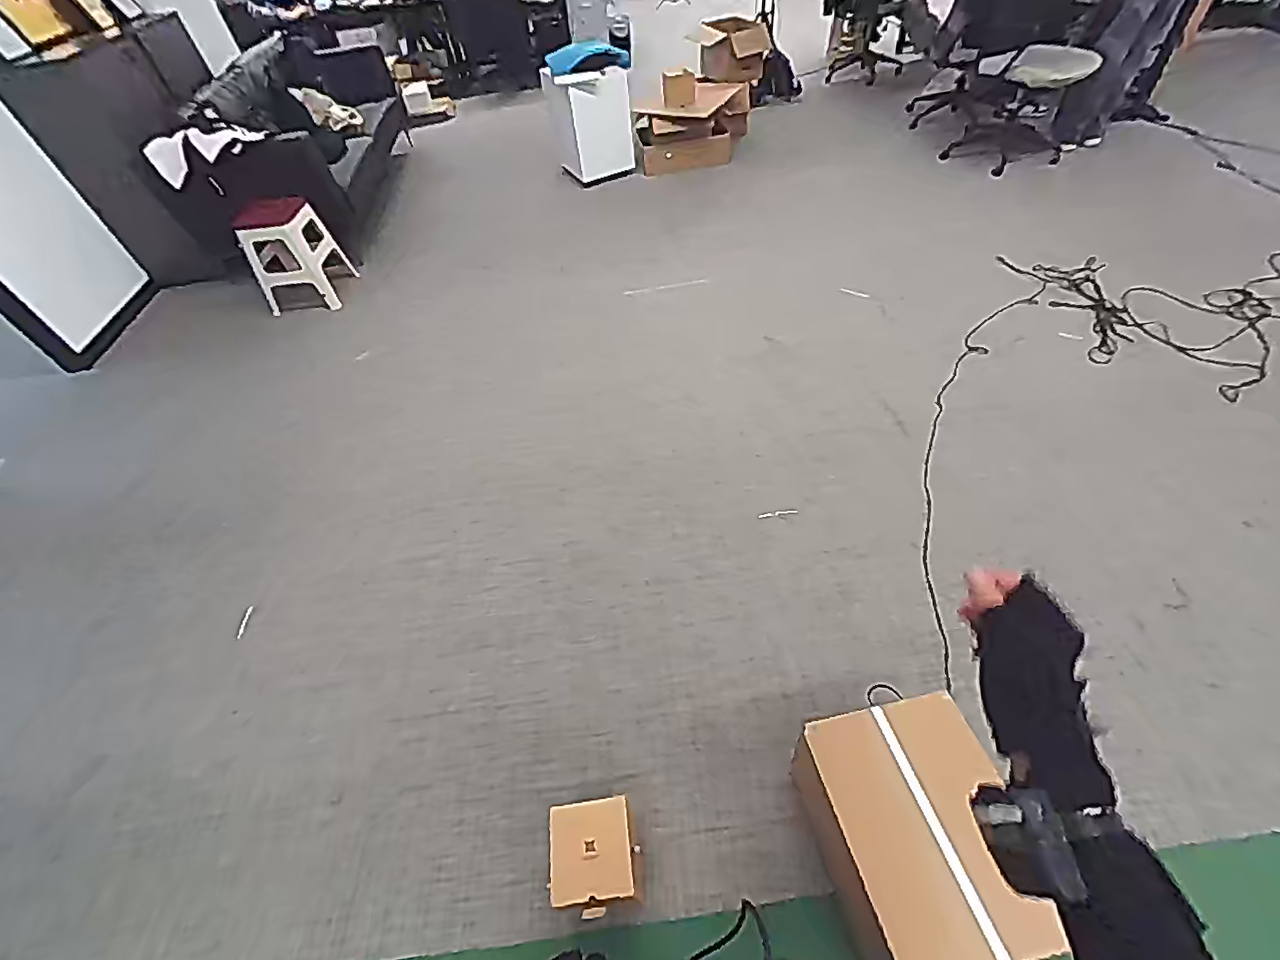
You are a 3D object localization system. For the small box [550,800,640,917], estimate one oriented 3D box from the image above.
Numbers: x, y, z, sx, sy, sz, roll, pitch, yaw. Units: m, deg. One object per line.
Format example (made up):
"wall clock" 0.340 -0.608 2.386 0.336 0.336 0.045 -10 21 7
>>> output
"small box" -0.096 0.817 1.164 0.168 0.176 0.179 -9 49 -1
